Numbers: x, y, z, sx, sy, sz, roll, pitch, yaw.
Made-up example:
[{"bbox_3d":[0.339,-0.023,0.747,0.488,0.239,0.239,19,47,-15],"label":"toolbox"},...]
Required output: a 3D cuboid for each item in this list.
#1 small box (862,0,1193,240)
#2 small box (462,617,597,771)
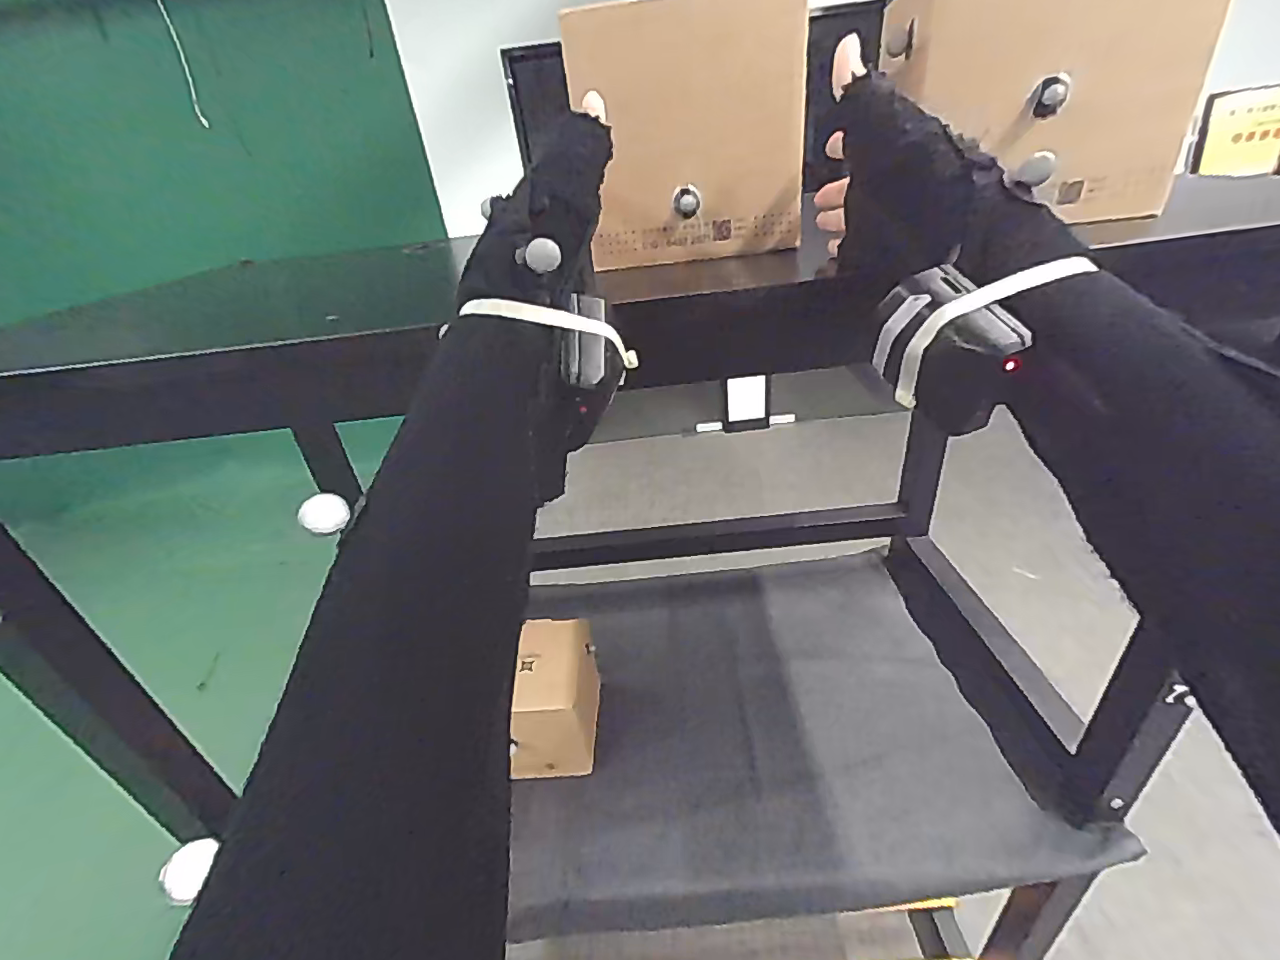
[{"bbox_3d":[0.282,-0.294,0.433,0.168,0.176,0.179,0,30,12],"label":"small box"},{"bbox_3d":[-0.167,0.352,0.884,0.168,0.176,0.179,-5,30,3],"label":"small box"}]
